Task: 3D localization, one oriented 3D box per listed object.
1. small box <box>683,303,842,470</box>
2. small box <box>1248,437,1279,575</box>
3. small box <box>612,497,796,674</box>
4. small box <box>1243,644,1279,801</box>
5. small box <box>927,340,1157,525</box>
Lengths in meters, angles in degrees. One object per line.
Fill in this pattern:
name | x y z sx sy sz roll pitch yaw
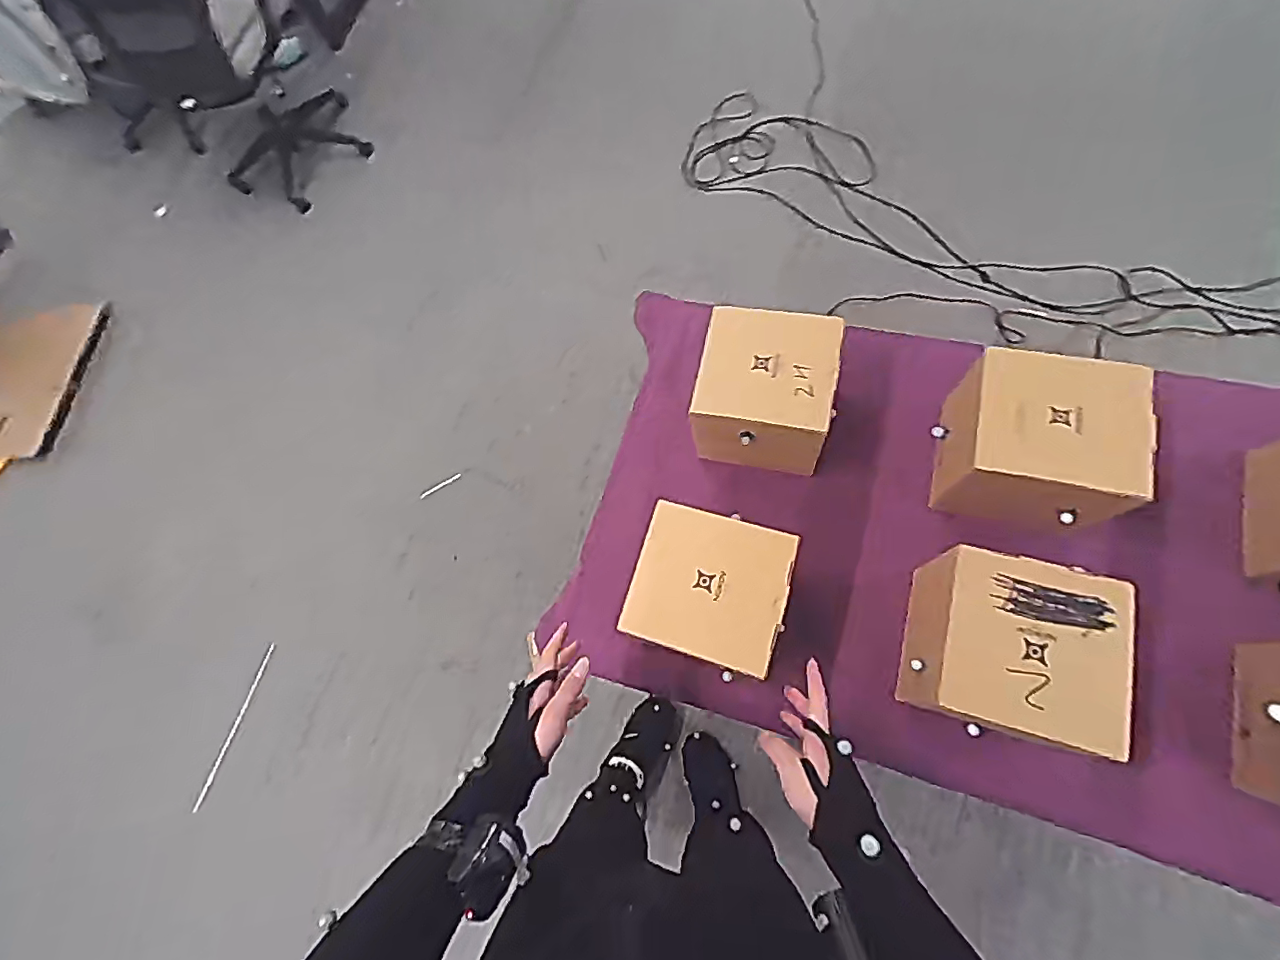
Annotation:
small box | 0.171 -0.125 0.763 0.179 0.176 0.168 11 74 14
small box | 0.827 0.030 0.585 0.168 0.176 0.179 14 74 15
small box | 0.086 0.142 0.687 0.179 0.176 0.168 14 73 14
small box | 0.749 0.259 0.519 0.179 0.176 0.168 15 74 16
small box | 0.490 -0.050 0.680 0.179 0.176 0.168 12 73 15
